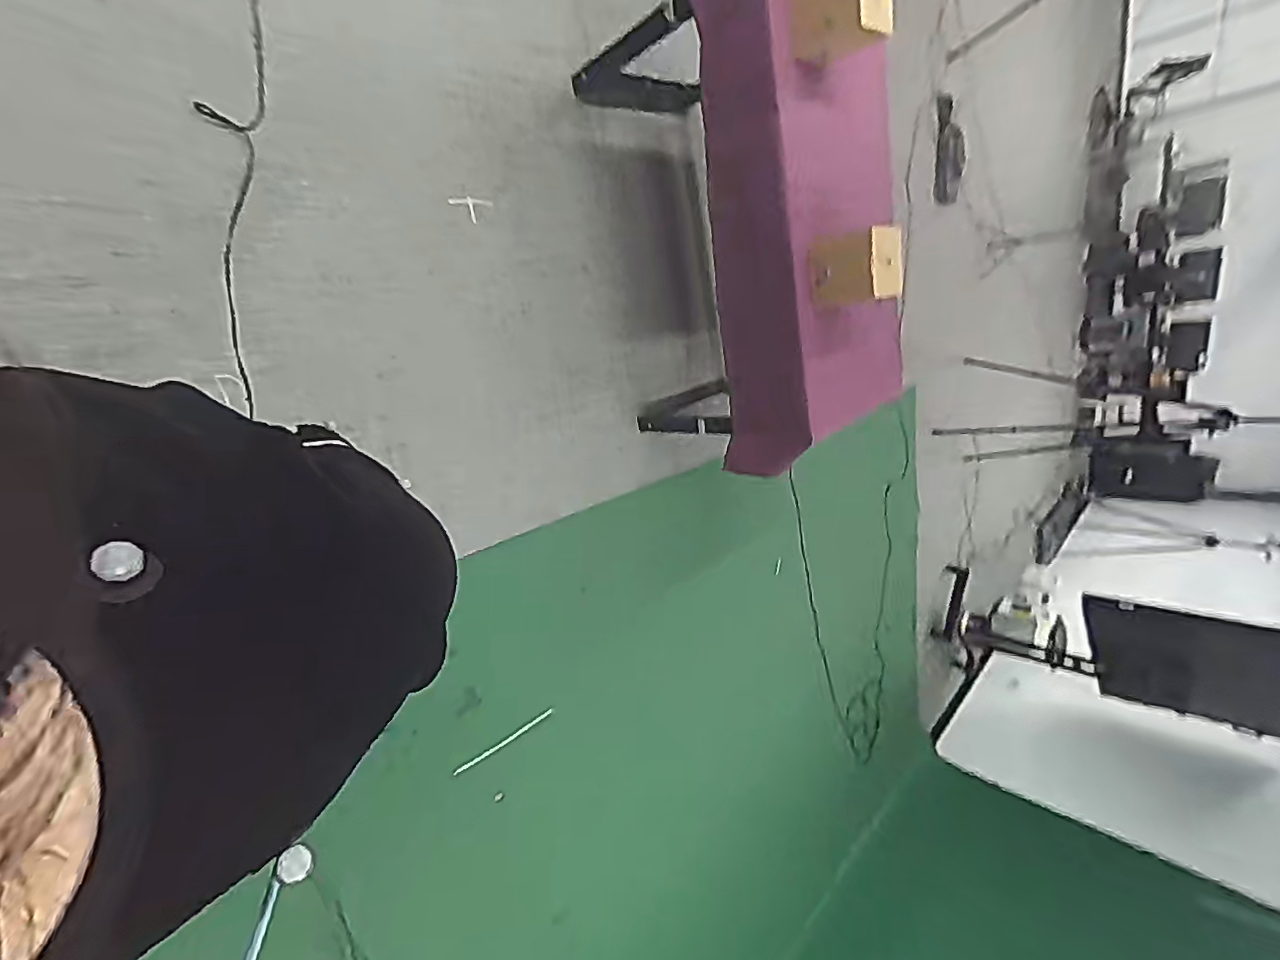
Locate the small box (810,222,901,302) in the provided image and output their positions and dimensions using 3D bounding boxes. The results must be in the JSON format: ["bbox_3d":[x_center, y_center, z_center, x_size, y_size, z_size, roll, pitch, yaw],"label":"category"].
[{"bbox_3d":[0.567,-0.569,1.422,0.179,0.176,0.168,-22,110,-39],"label":"small box"}]
